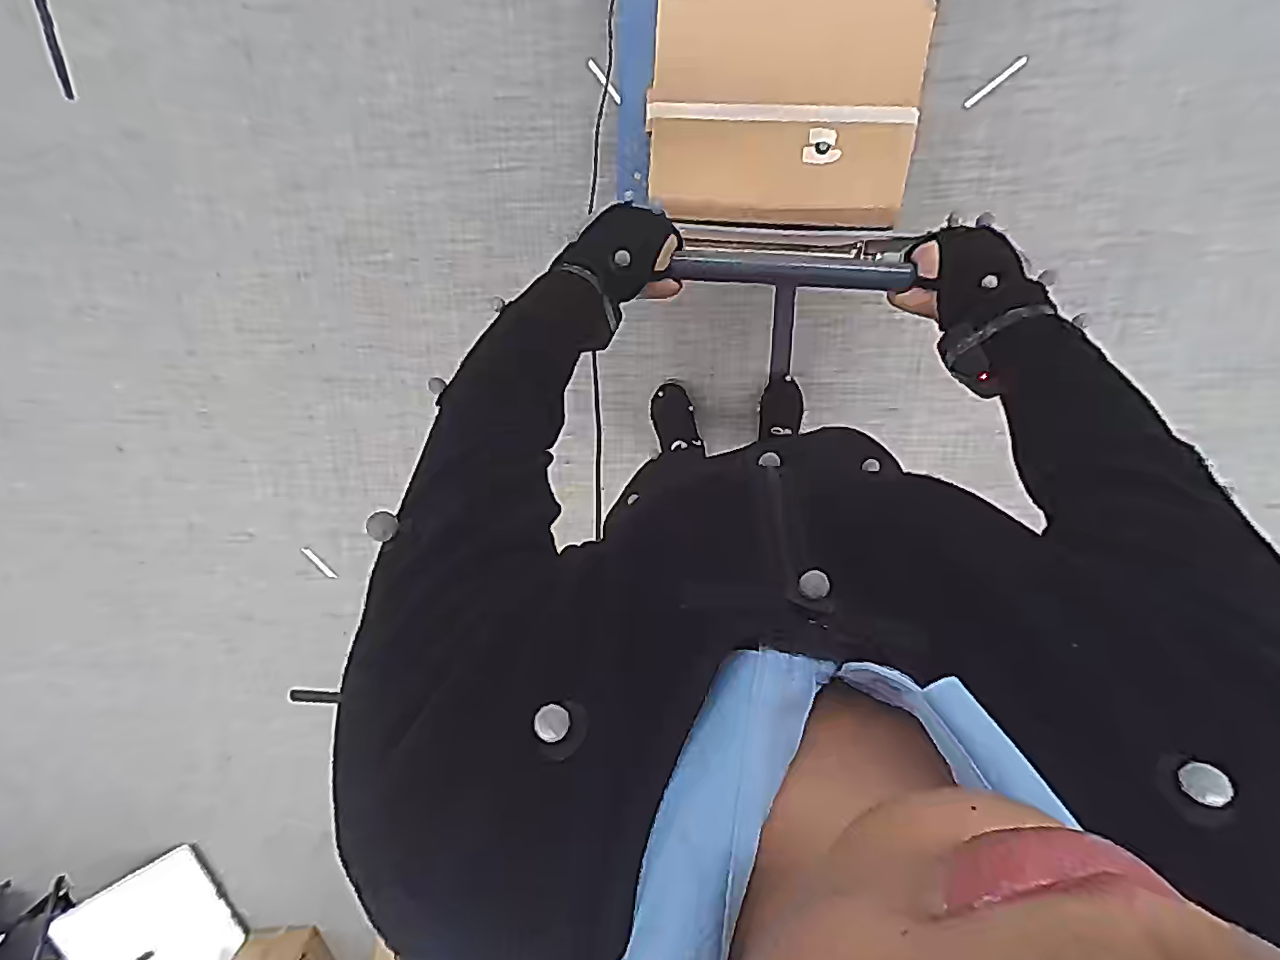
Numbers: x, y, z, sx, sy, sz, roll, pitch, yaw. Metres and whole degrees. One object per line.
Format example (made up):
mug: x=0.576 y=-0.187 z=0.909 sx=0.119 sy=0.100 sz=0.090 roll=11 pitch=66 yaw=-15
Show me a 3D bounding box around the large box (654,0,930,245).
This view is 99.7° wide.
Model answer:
large box: x=0.235 y=-0.615 z=0.992 sx=0.408 sy=0.320 sz=0.320 roll=4 pitch=110 yaw=4
